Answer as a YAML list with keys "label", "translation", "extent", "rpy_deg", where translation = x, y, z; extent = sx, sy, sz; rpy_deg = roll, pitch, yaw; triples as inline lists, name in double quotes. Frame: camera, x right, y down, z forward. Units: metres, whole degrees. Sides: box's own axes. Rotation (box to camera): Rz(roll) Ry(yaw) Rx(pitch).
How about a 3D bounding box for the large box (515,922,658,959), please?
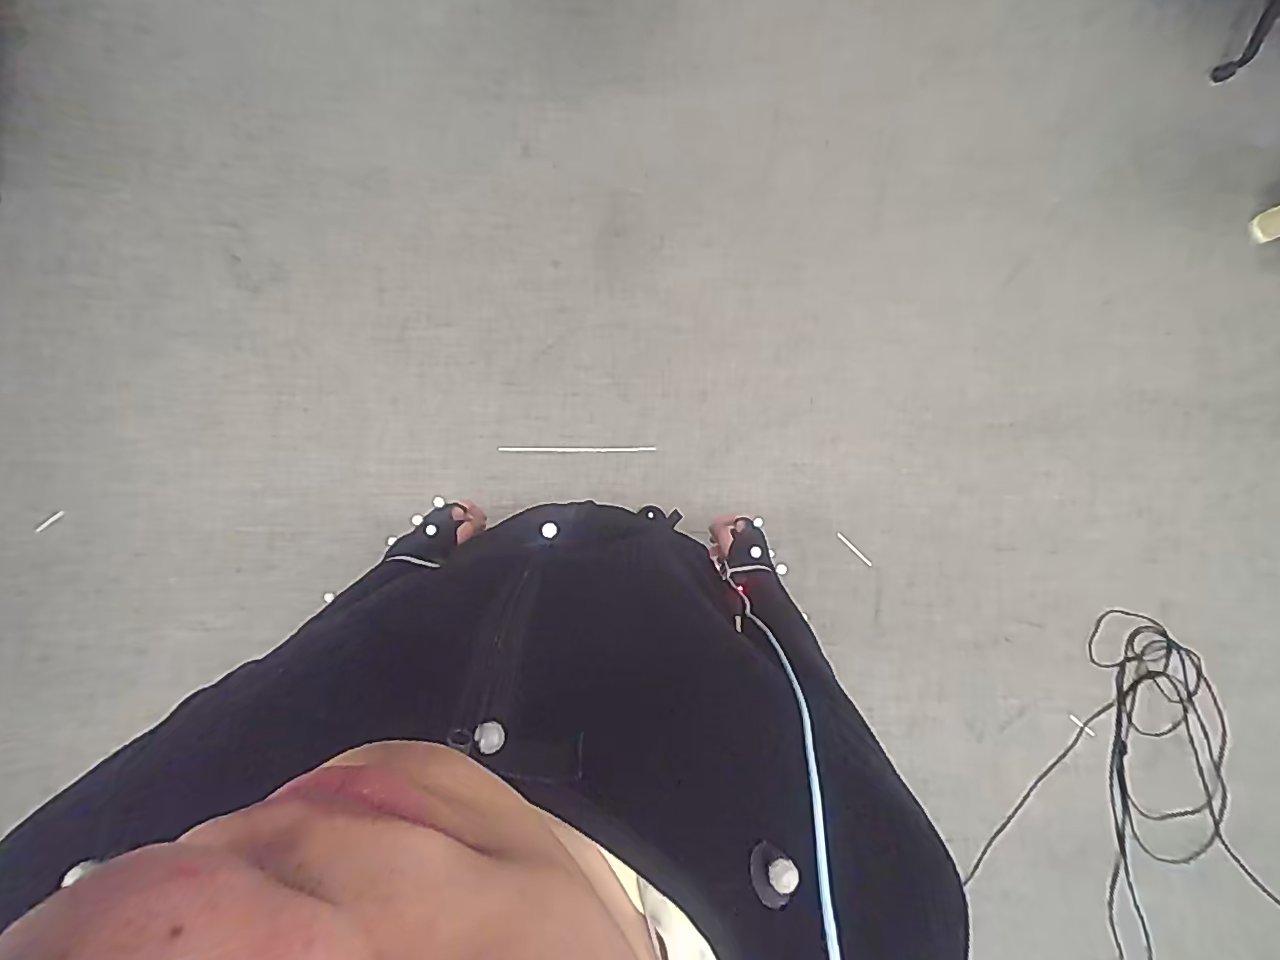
- label: "large box"
  translation: [-0.131, 1.452, 1.412]
  extent: [0.408, 0.320, 0.320]
  rpy_deg: [-8, 86, -2]
